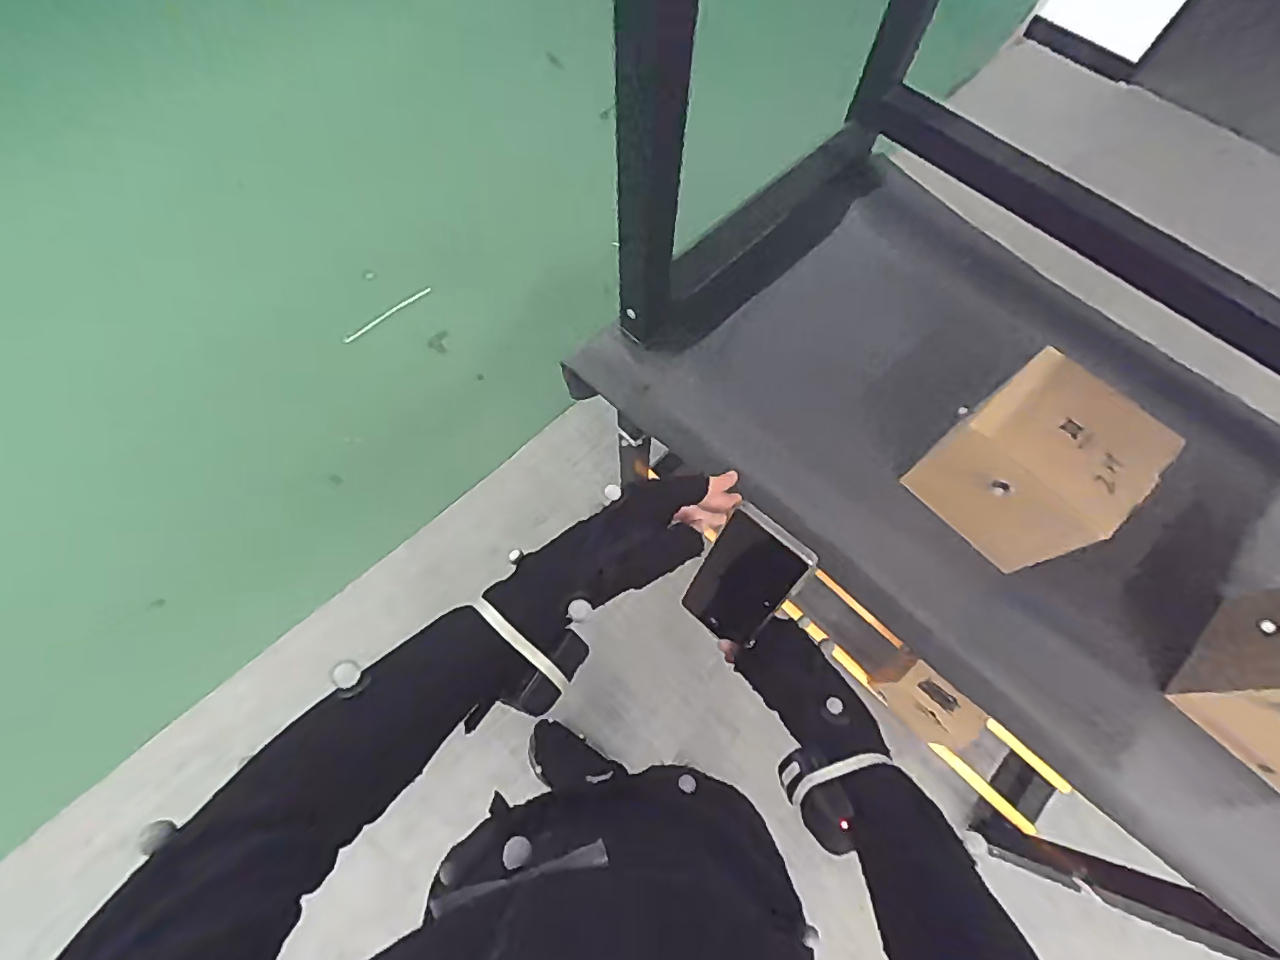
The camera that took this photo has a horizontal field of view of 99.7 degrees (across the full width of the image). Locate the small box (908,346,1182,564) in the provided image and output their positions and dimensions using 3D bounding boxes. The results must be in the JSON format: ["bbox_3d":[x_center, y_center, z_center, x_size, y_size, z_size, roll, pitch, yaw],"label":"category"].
[{"bbox_3d":[0.477,-0.021,0.669,0.168,0.176,0.179,-40,74,-15],"label":"small box"}]

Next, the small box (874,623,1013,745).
[{"bbox_3d":[0.632,0.436,1.158,0.179,0.176,0.168,-39,74,-15],"label":"small box"}]
